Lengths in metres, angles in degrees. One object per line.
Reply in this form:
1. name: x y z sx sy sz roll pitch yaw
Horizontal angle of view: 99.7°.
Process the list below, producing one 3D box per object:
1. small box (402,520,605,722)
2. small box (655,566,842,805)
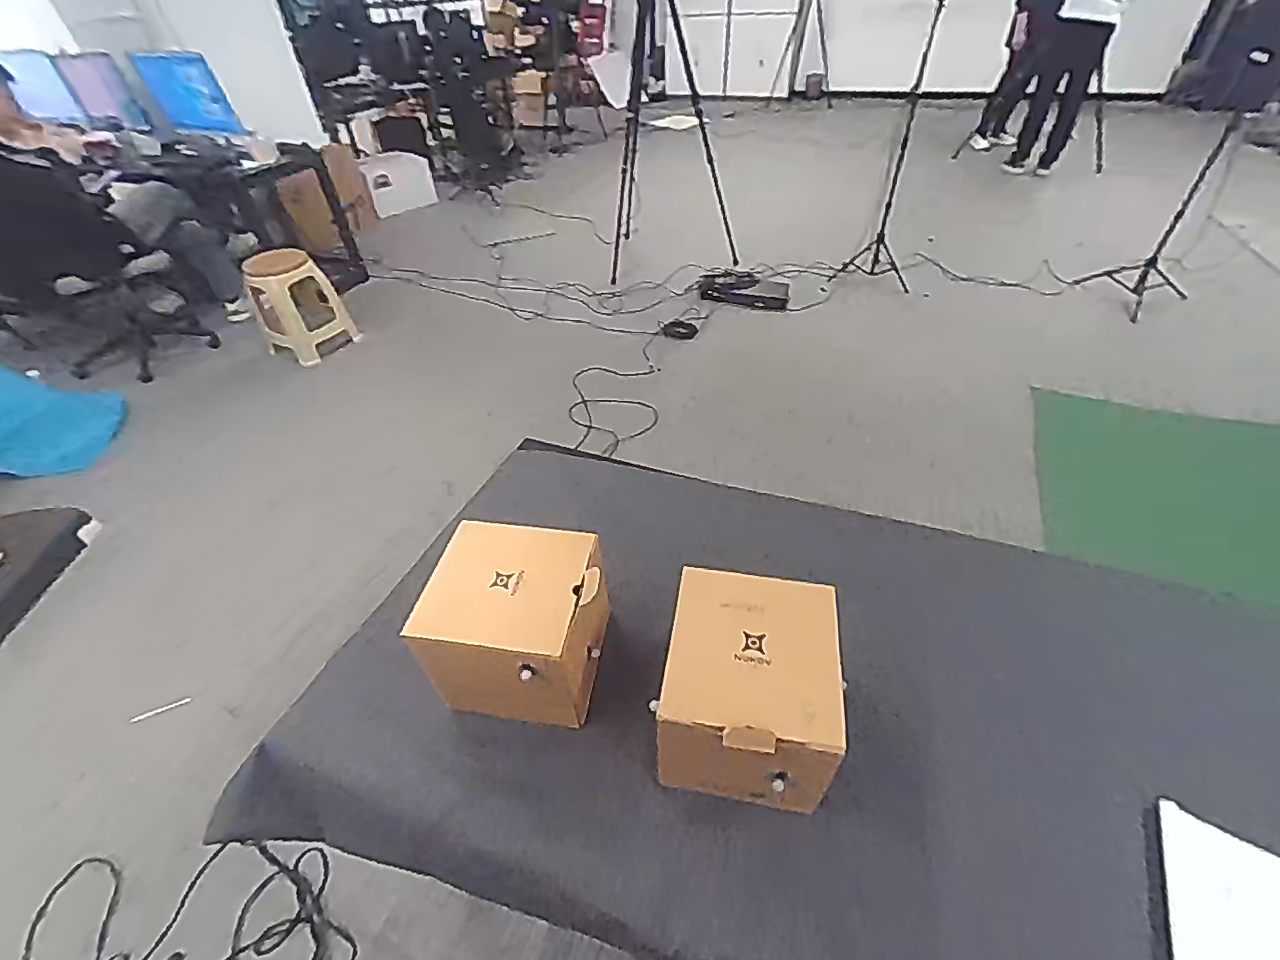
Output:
1. small box: -0.146 0.170 0.654 0.179 0.176 0.168 5 43 7
2. small box: 0.112 0.221 0.584 0.168 0.176 0.179 7 42 9
